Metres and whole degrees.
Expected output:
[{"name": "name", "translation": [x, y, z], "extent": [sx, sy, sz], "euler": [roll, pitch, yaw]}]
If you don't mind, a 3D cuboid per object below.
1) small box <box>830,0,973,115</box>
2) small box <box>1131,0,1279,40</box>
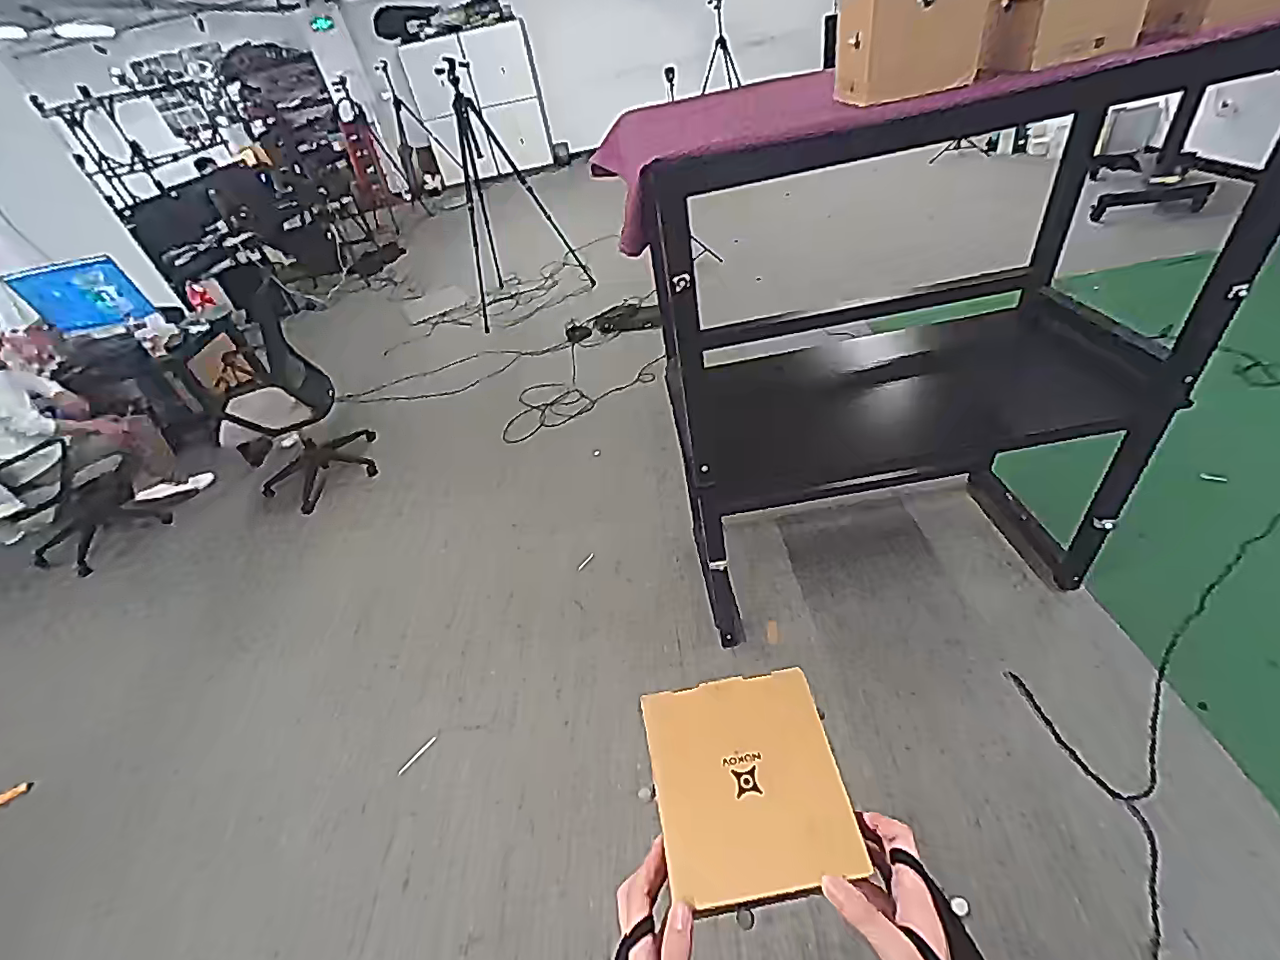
[{"name": "small box", "translation": [0.421, -0.719, 0.886], "extent": [0.179, 0.176, 0.168], "euler": [-8, 39, 6]}, {"name": "small box", "translation": [0.936, -0.823, 0.856], "extent": [0.179, 0.176, 0.168], "euler": [-9, 41, 7]}]
